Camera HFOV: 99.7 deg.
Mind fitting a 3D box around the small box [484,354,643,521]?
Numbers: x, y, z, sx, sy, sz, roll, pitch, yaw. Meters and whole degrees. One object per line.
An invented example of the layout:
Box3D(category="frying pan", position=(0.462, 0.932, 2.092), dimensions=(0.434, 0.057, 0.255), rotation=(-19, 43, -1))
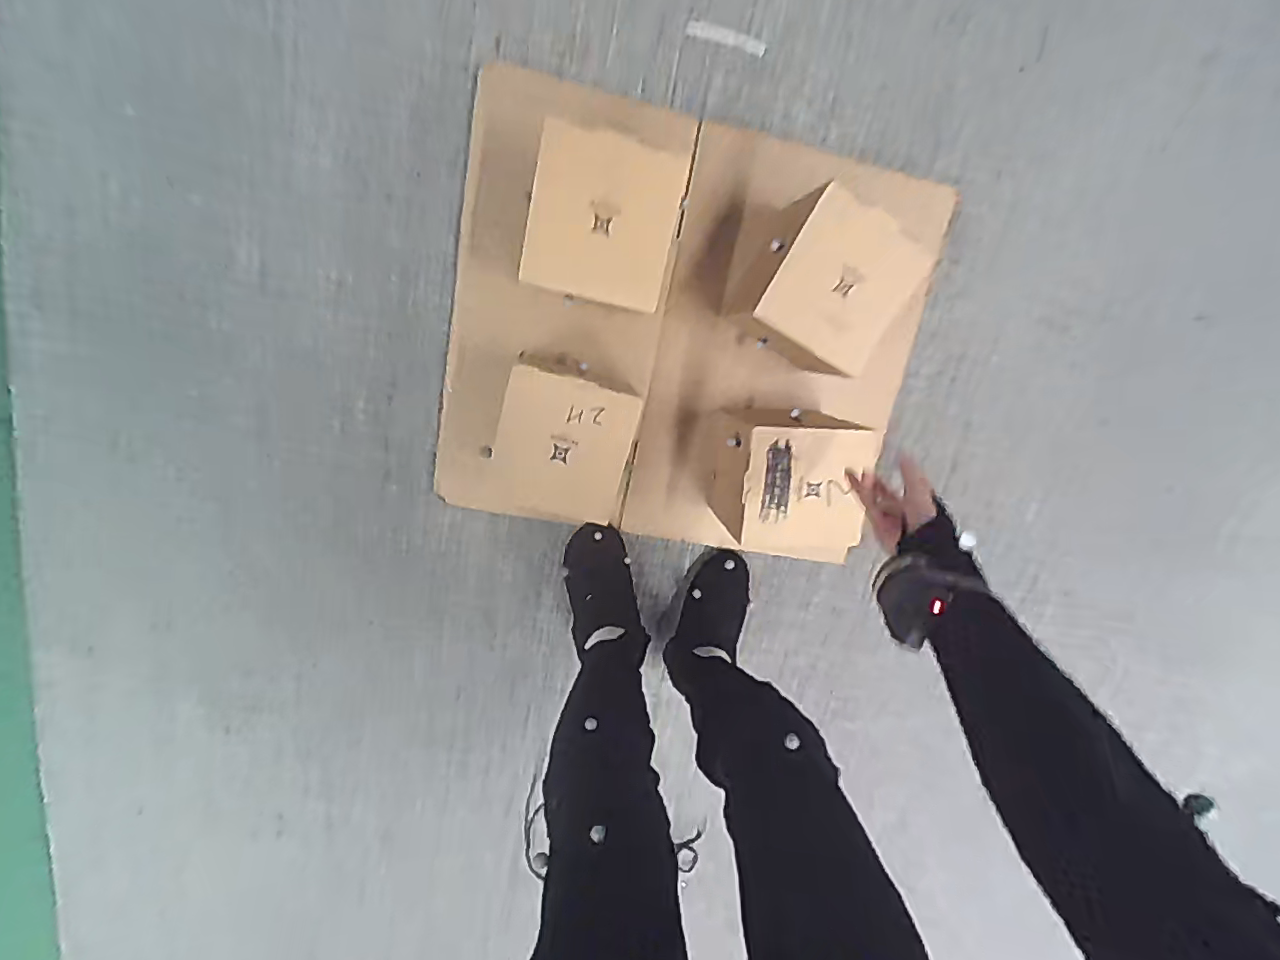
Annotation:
Box3D(category="small box", position=(-0.105, -0.067, 0.754), dimensions=(0.168, 0.176, 0.179), rotation=(15, 102, -11))

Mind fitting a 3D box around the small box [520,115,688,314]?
Box3D(category="small box", position=(-0.050, -0.320, 0.695), dimensions=(0.168, 0.176, 0.179), rotation=(11, 103, -10))

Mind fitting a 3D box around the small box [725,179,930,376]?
Box3D(category="small box", position=(0.239, -0.262, 0.738), dimensions=(0.168, 0.176, 0.179), rotation=(29, 99, -12))
